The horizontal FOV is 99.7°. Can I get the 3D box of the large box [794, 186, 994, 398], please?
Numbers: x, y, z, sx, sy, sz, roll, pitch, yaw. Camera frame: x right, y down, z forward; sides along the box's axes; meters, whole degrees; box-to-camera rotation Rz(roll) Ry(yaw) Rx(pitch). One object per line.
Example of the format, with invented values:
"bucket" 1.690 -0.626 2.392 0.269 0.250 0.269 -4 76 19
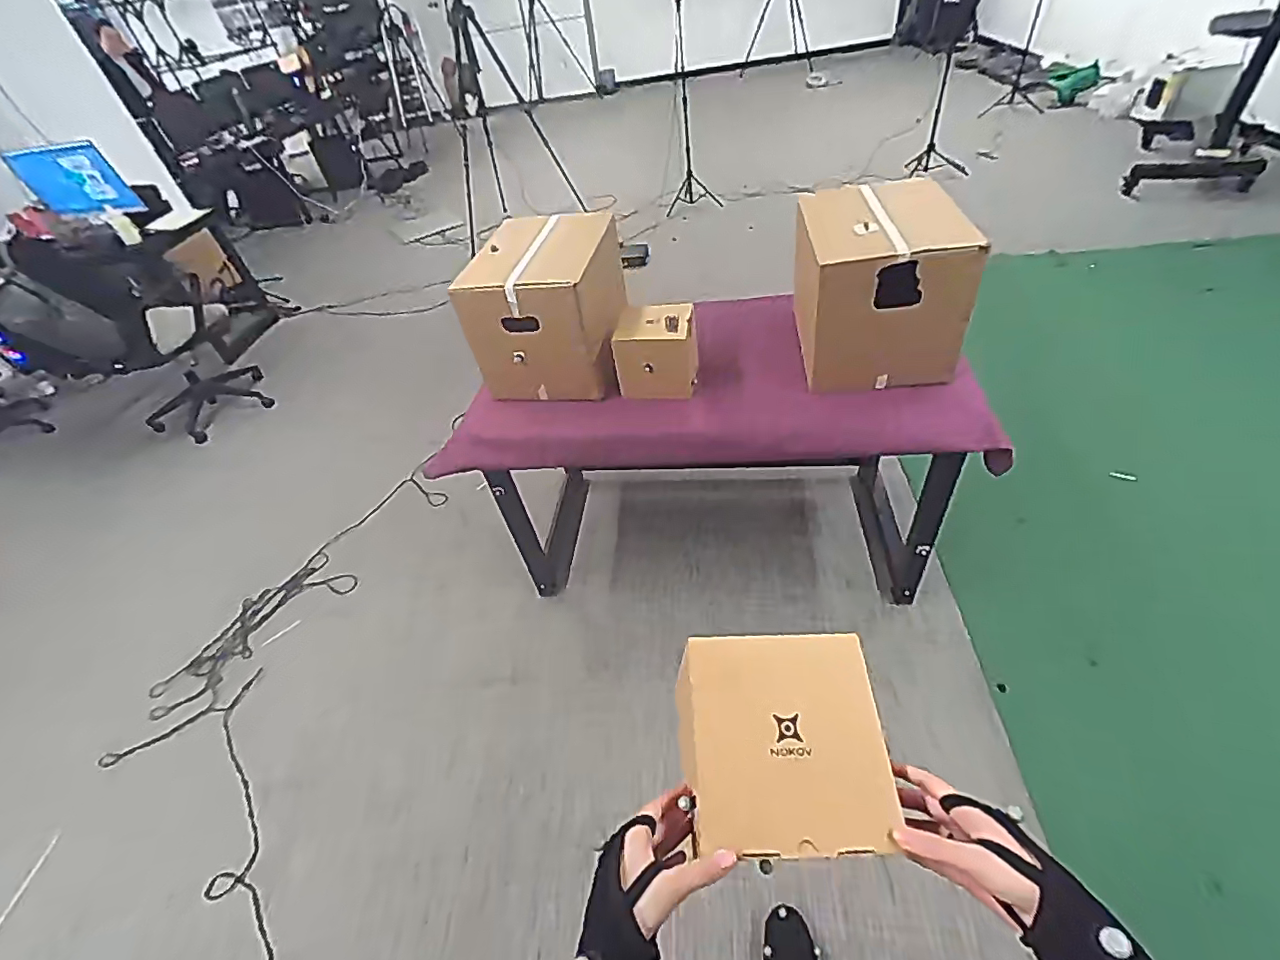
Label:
"large box" 0.550 -0.444 1.272 0.320 0.320 0.408 -4 45 11
